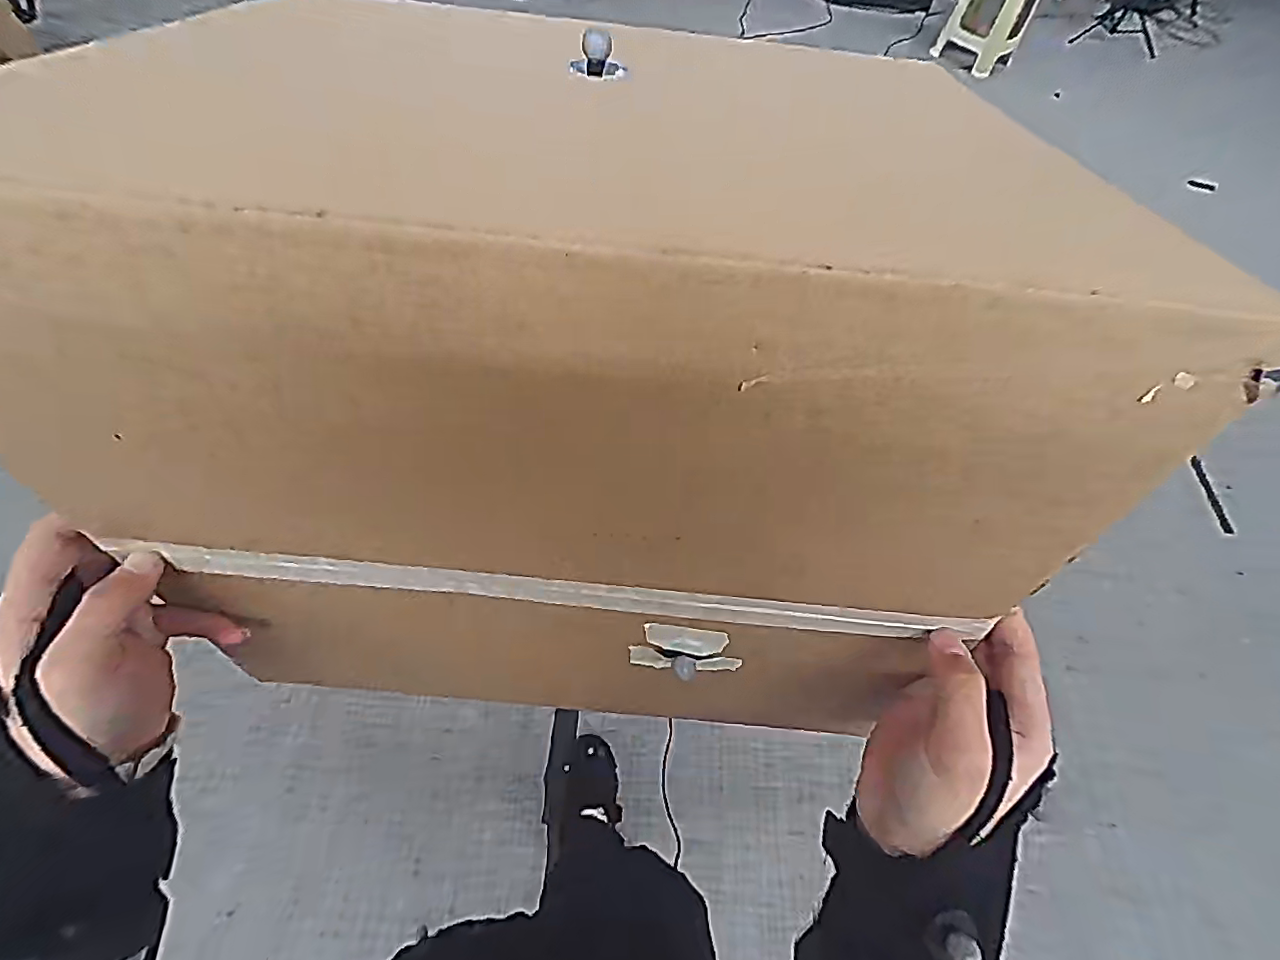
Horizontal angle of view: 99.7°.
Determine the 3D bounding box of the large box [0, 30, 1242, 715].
[{"bbox_3d":[-0.031,-0.068,0.358,0.408,0.320,0.320,5,48,-1],"label":"large box"}]
